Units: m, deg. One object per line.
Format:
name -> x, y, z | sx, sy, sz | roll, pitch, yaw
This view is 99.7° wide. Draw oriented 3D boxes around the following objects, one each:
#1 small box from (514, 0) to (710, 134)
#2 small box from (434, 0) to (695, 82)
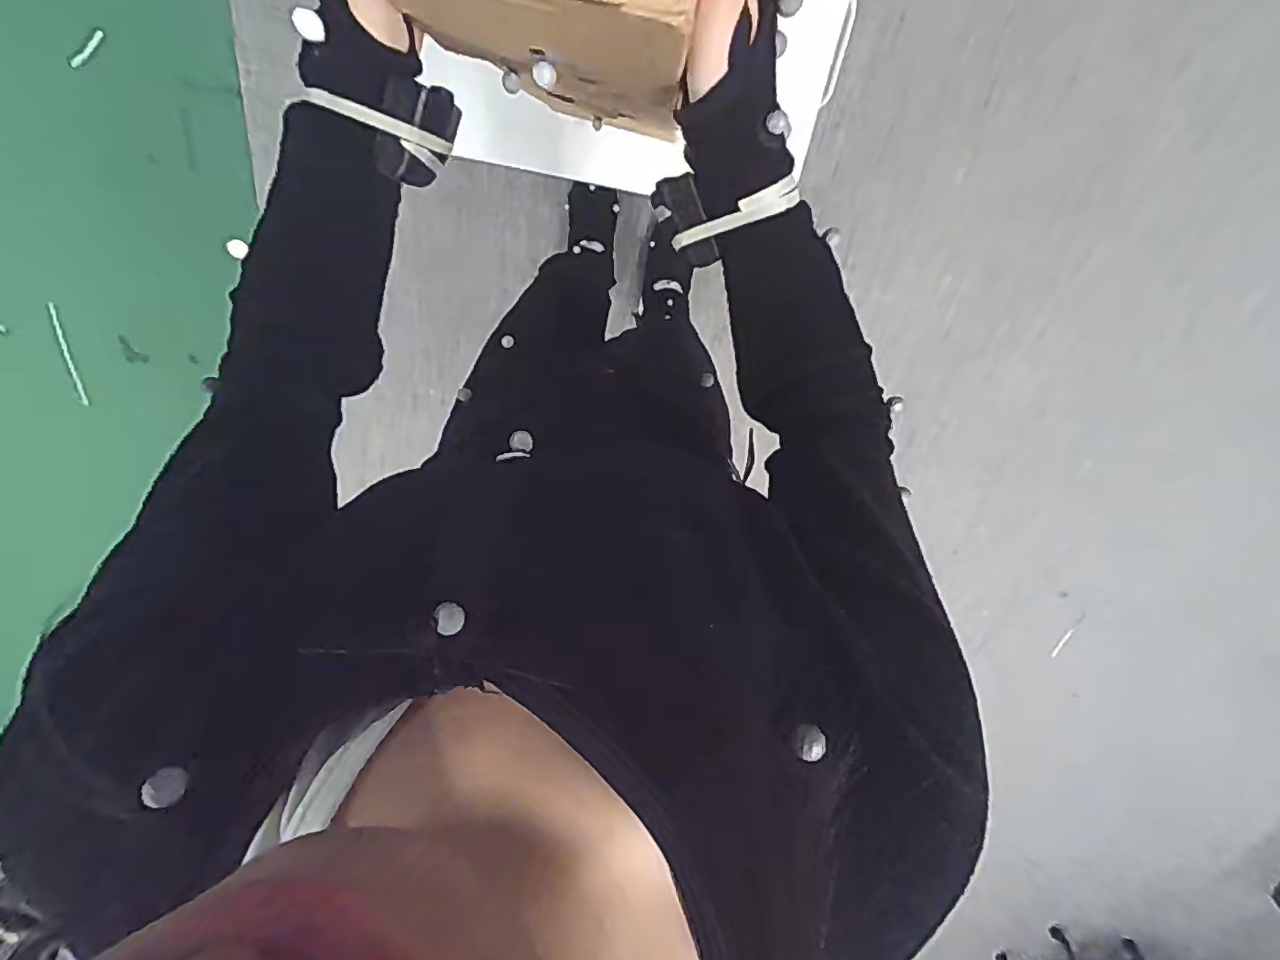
small box -> -0.018, -0.480, 0.553 | 0.168, 0.176, 0.179 | 13, 118, -2
small box -> -0.038, -0.328, 0.254 | 0.168, 0.176, 0.179 | 12, 114, -3
